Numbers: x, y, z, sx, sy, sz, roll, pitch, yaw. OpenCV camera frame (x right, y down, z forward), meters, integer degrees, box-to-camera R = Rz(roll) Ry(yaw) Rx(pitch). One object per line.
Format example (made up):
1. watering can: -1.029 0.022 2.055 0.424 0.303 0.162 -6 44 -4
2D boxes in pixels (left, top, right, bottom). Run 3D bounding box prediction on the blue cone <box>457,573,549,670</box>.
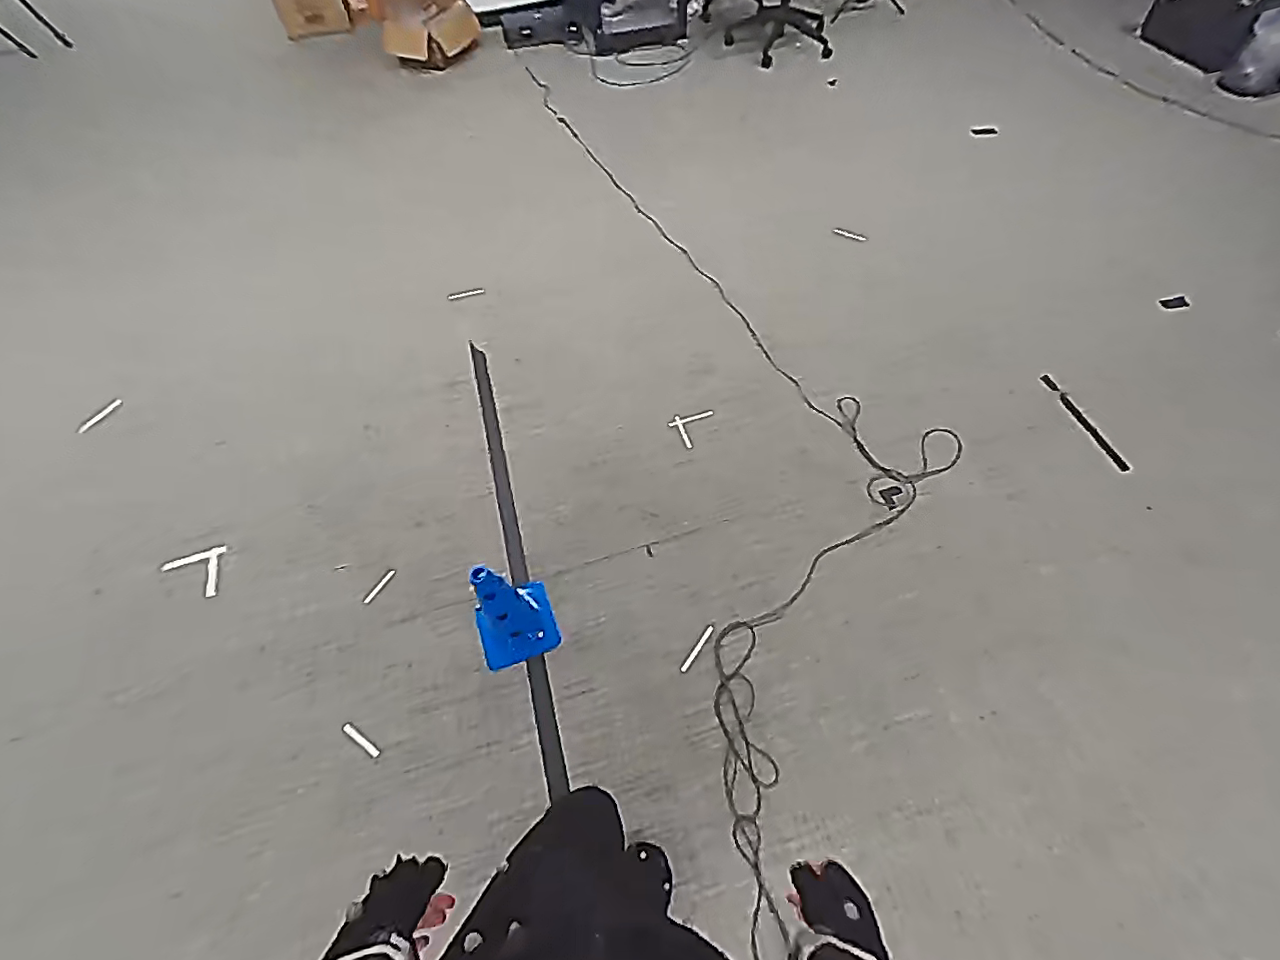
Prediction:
1. blue cone: -0.356 0.307 1.312 0.192 0.380 0.193 -19 59 -8
